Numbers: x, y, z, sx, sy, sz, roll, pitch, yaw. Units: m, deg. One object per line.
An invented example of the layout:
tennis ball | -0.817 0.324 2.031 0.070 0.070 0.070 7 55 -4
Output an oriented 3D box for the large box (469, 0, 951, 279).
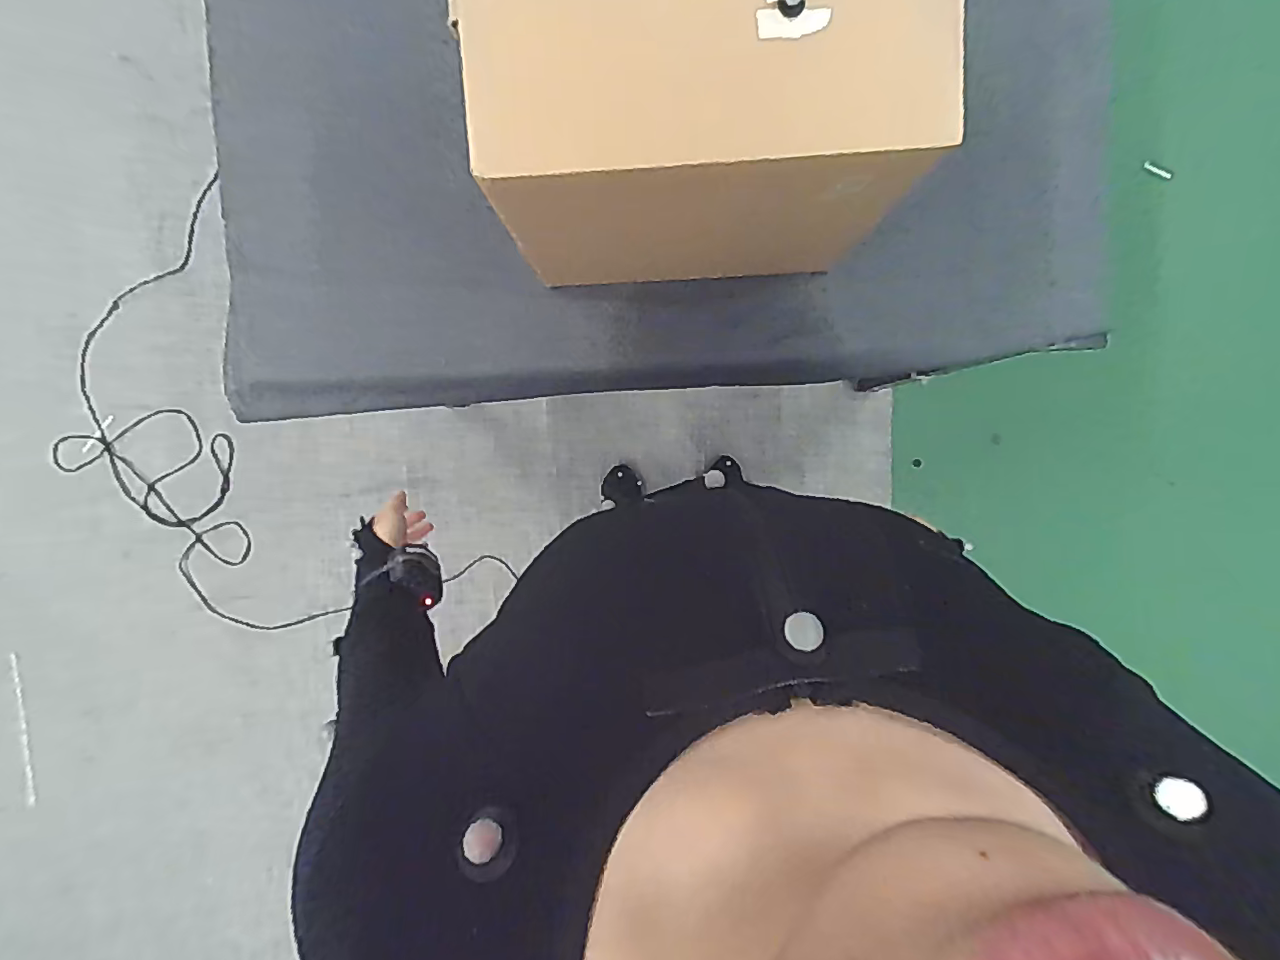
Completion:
large box | 0.053 -0.435 0.596 0.408 0.320 0.320 -3 94 1
